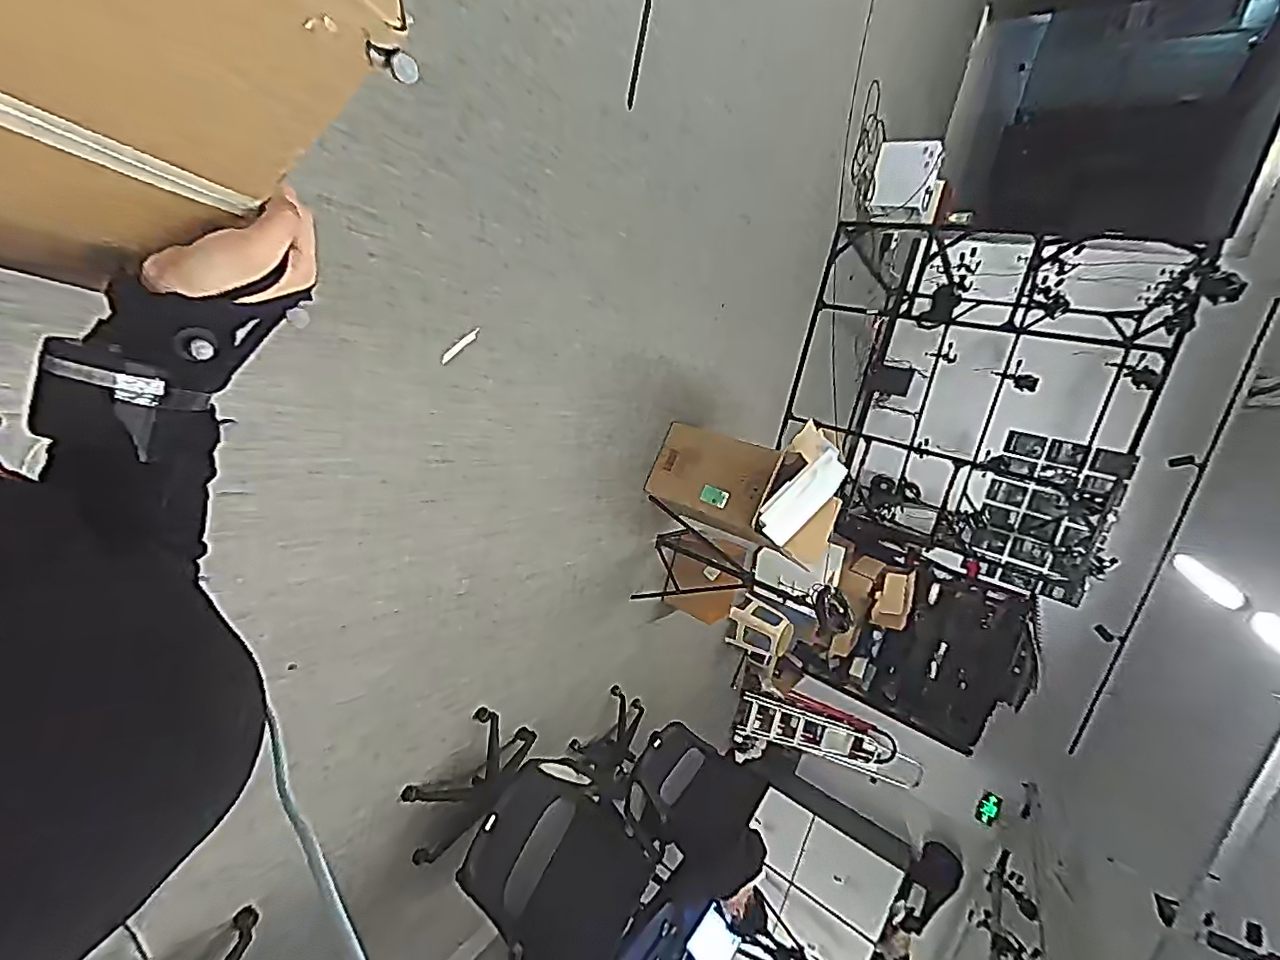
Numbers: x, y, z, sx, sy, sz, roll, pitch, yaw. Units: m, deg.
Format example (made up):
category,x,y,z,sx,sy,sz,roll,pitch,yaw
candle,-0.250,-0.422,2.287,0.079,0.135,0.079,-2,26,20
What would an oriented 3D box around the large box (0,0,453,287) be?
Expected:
category,x,y,z,sx,sy,sz,roll,pitch,yaw
large box,-0.341,-0.333,0.186,0.408,0.320,0.320,5,73,-55
